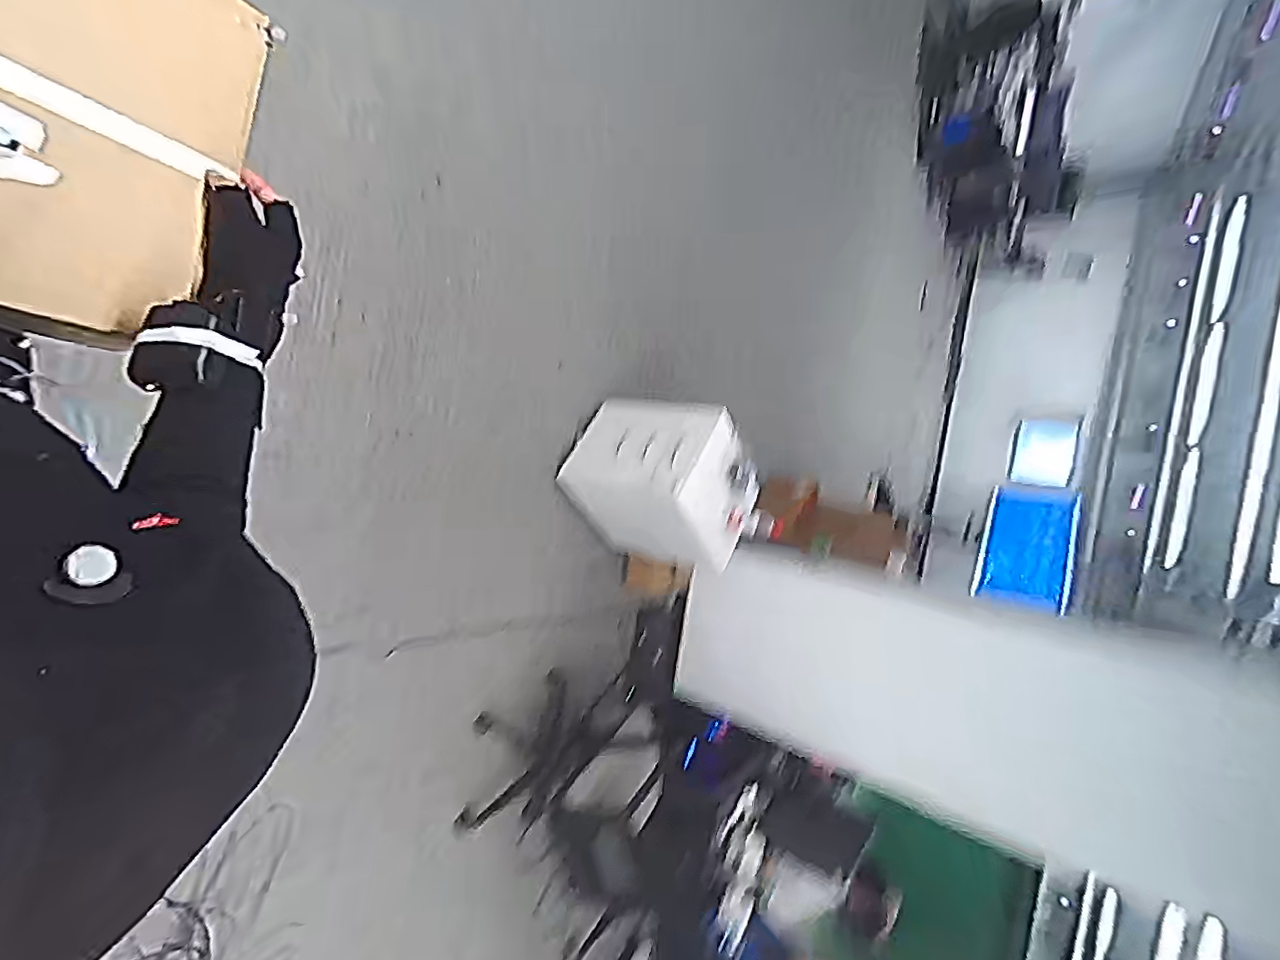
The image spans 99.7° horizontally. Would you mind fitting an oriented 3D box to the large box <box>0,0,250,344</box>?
[{"bbox_3d":[-0.614,-0.312,0.414,0.408,0.320,0.320,11,91,-56],"label":"large box"}]
